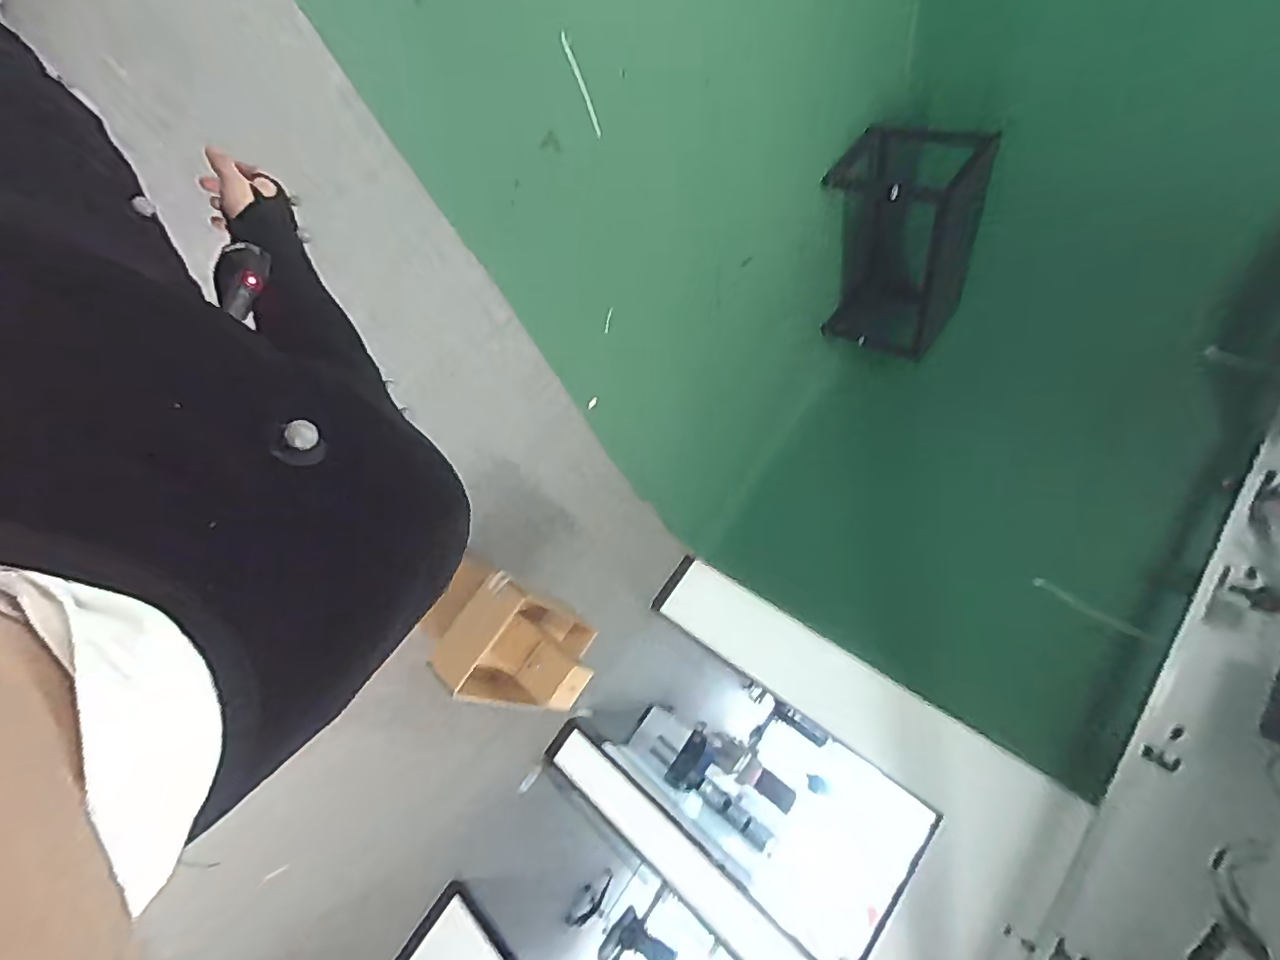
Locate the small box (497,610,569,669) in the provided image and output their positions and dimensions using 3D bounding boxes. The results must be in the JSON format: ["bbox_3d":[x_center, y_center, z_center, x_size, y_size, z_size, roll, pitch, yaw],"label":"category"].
[{"bbox_3d":[-0.413,0.619,2.064,0.168,0.176,0.179,-54,149,-11],"label":"small box"}]

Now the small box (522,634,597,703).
[{"bbox_3d":[-0.293,0.685,1.971,0.168,0.176,0.179,-55,149,-10],"label":"small box"}]
